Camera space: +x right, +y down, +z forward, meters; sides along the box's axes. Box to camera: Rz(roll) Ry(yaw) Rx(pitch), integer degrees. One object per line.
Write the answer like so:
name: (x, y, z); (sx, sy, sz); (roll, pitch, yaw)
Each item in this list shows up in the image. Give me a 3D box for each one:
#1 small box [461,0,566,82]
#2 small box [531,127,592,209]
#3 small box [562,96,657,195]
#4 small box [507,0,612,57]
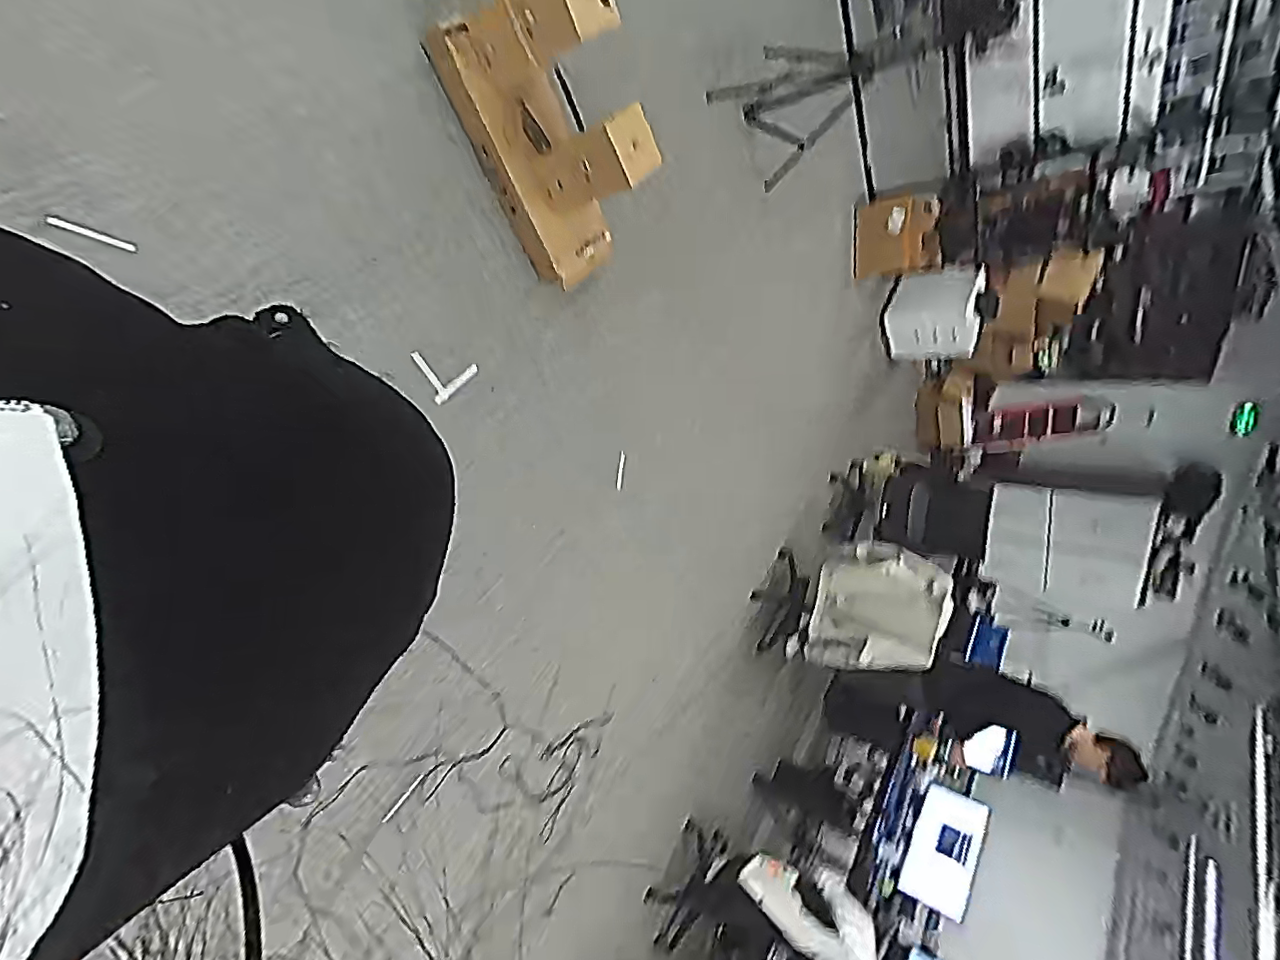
small box: (-0.338, -1.208, 1.445); (0.179, 0.176, 0.168); (-52, 132, -30)
small box: (-0.207, -0.954, 1.646); (0.179, 0.176, 0.168); (-53, 132, -28)
small box: (-0.088, -0.944, 1.535); (0.179, 0.176, 0.168); (-55, 132, -27)
small box: (-0.206, -1.201, 1.347); (0.179, 0.176, 0.168); (-53, 132, -29)
